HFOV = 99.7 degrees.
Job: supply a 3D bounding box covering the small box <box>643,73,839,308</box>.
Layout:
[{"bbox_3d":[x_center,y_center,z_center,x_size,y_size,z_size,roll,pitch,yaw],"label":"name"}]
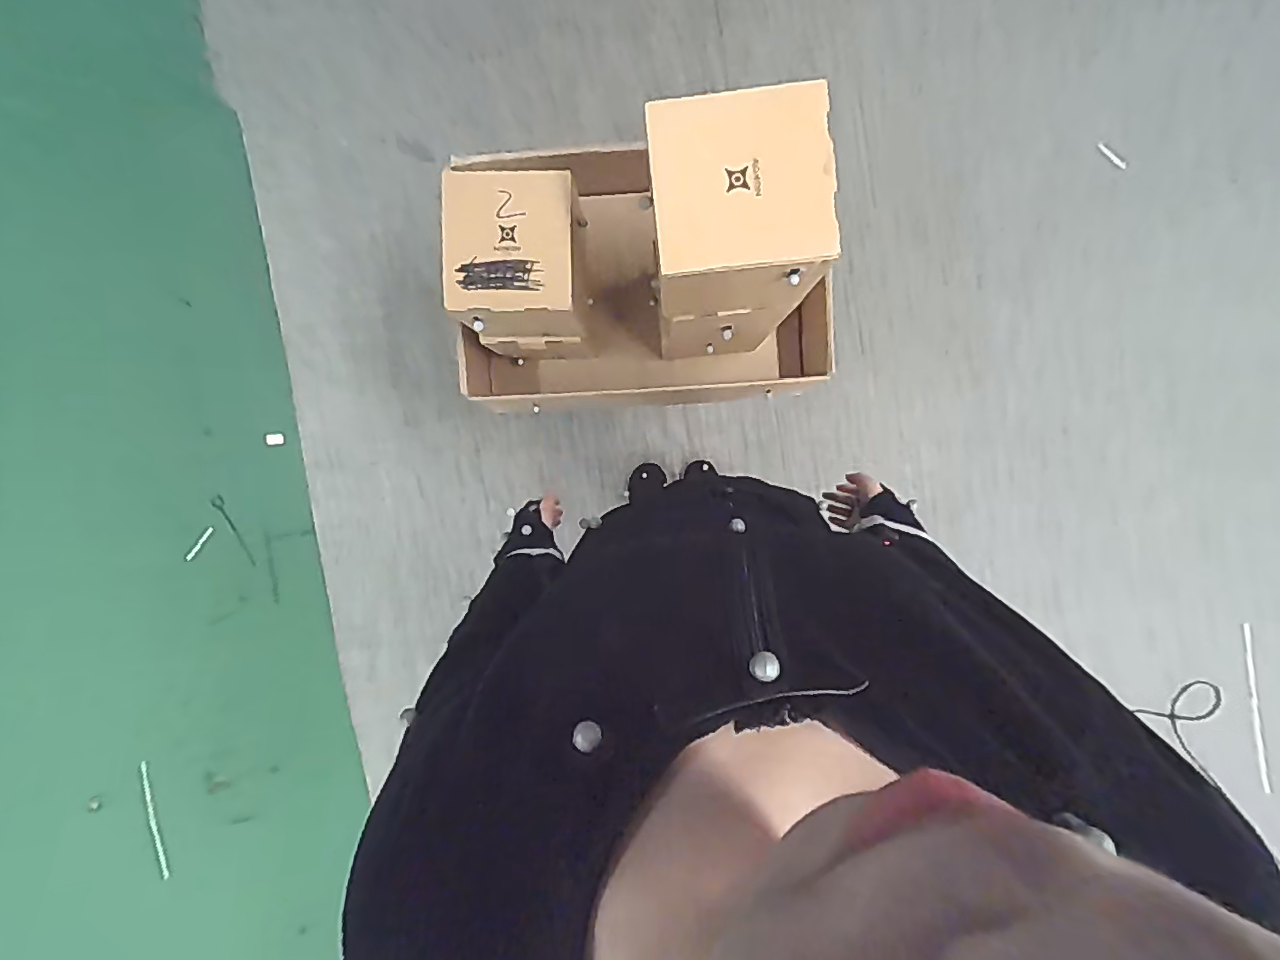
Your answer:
[{"bbox_3d":[0.100,-0.298,0.595,0.179,0.176,0.168,-6,93,2],"label":"small box"}]
